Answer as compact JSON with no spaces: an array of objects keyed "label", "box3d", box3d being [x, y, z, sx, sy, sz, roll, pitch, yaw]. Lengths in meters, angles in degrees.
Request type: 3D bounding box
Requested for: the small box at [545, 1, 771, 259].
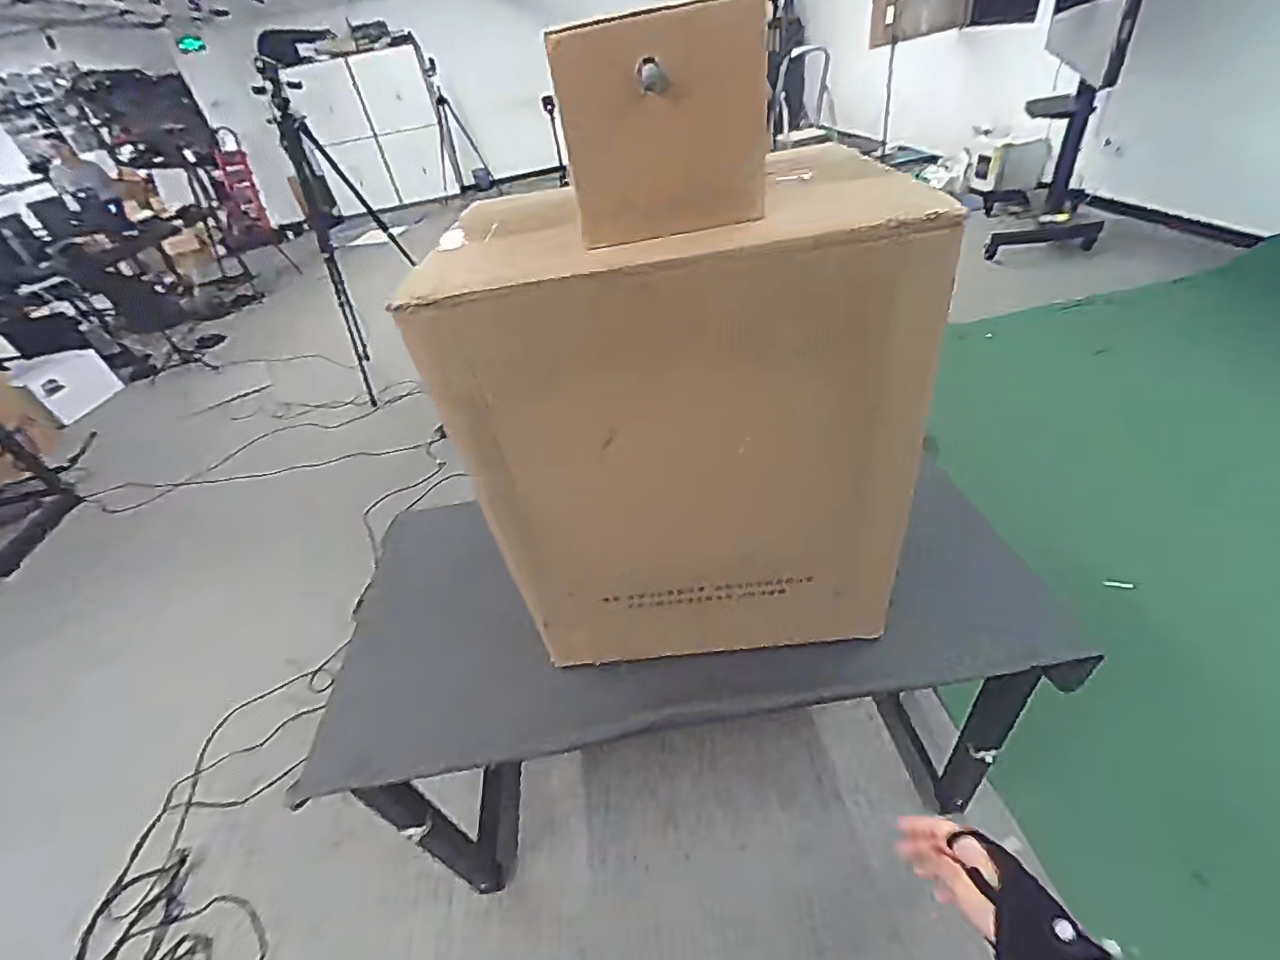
[{"label":"small box","box3d":[0.021,-0.334,0.521,0.179,0.176,0.168,-8,41,4]}]
